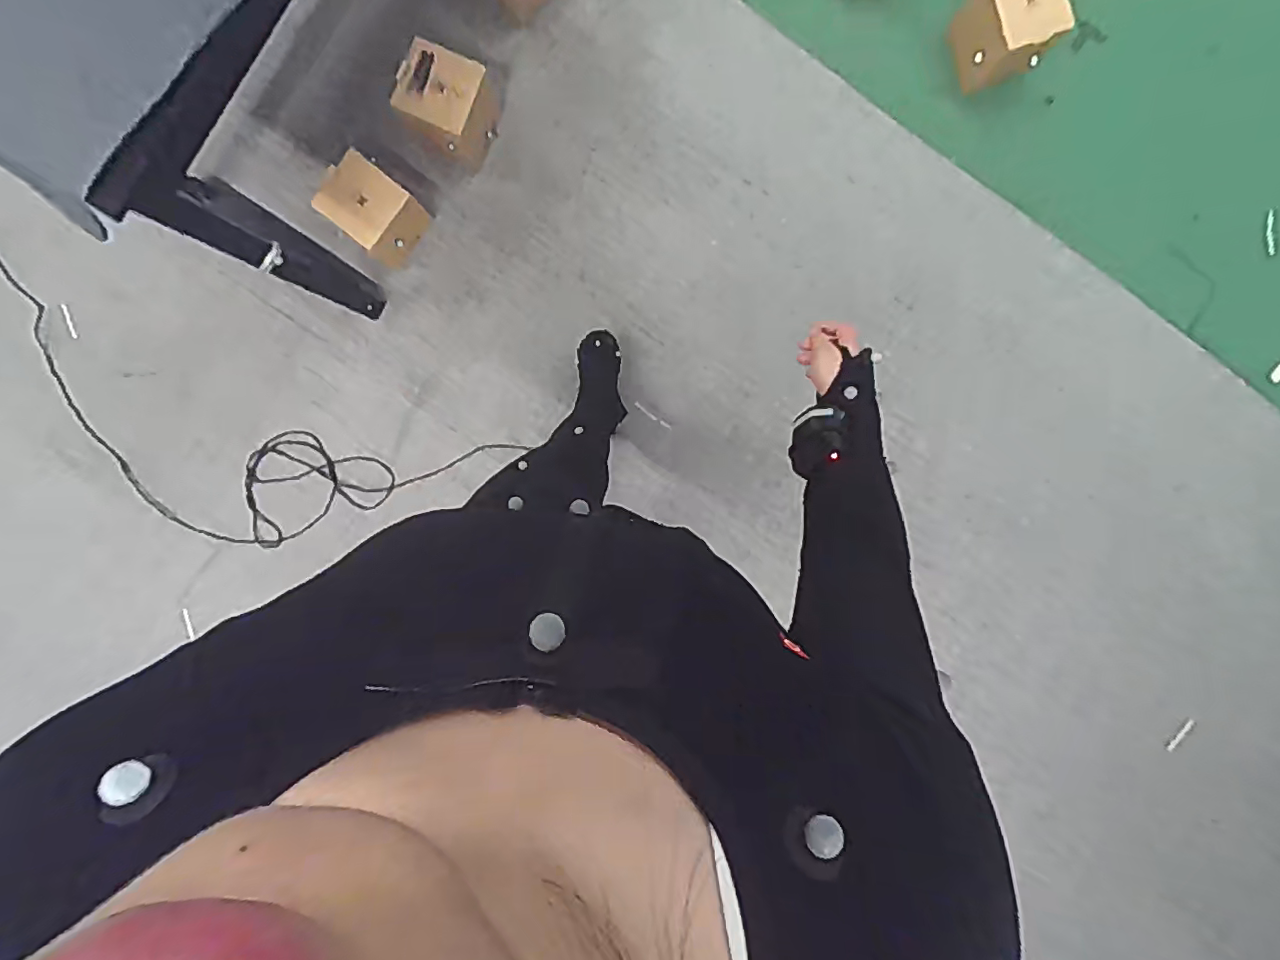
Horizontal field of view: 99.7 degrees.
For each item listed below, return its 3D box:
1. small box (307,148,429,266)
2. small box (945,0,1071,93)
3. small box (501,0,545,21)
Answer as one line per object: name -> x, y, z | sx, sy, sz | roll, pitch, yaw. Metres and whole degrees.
small box -> -0.653, -0.653, 1.323 | 0.179, 0.176, 0.168 | 38, 93, -3
small box -> 0.885, -1.089, 1.315 | 0.168, 0.176, 0.179 | -21, 94, 0
small box -> -0.294, -1.260, 1.279 | 0.179, 0.176, 0.168 | -43, 94, 1
